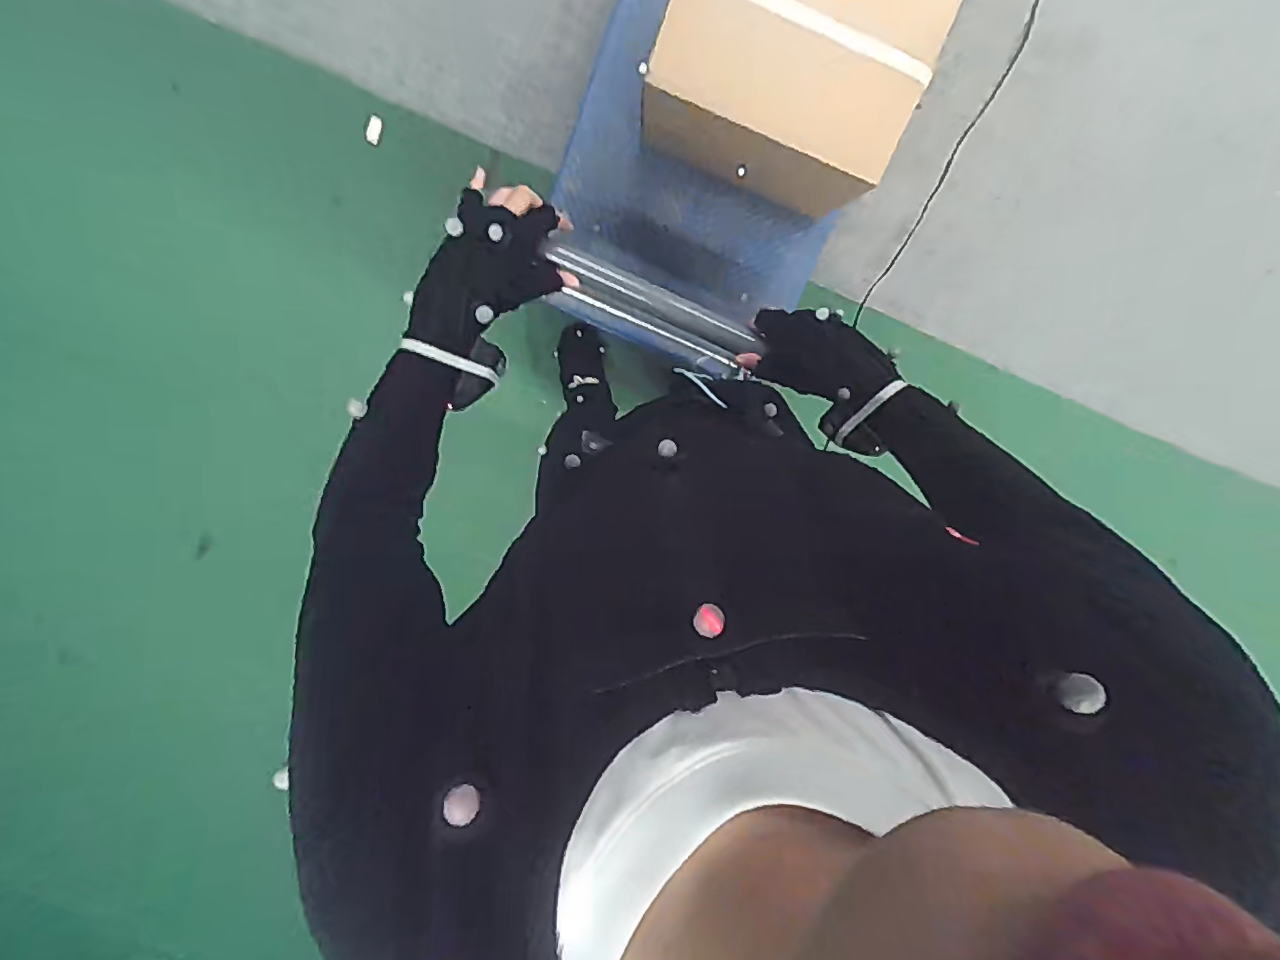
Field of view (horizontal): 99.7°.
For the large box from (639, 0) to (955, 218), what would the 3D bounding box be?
[{"bbox_3d":[0.241,-0.709,0.947,0.408,0.320,0.320,21,105,-5],"label":"large box"}]
